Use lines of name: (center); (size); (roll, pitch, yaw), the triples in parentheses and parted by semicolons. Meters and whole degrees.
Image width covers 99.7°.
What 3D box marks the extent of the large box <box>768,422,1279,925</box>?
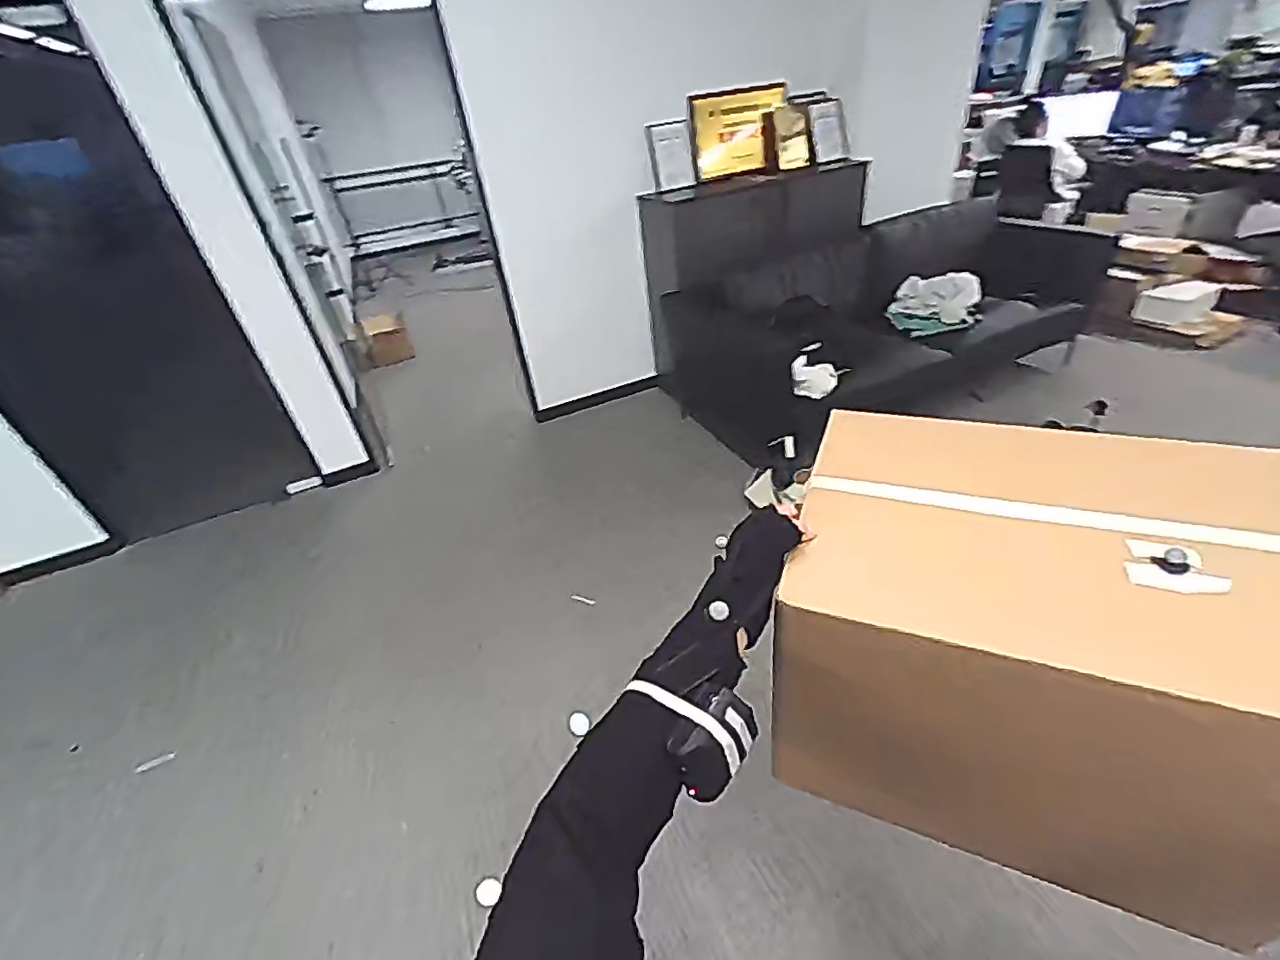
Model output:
large box: (0.364, 0.162, 0.567); (0.408, 0.320, 0.320); (9, 40, 22)
